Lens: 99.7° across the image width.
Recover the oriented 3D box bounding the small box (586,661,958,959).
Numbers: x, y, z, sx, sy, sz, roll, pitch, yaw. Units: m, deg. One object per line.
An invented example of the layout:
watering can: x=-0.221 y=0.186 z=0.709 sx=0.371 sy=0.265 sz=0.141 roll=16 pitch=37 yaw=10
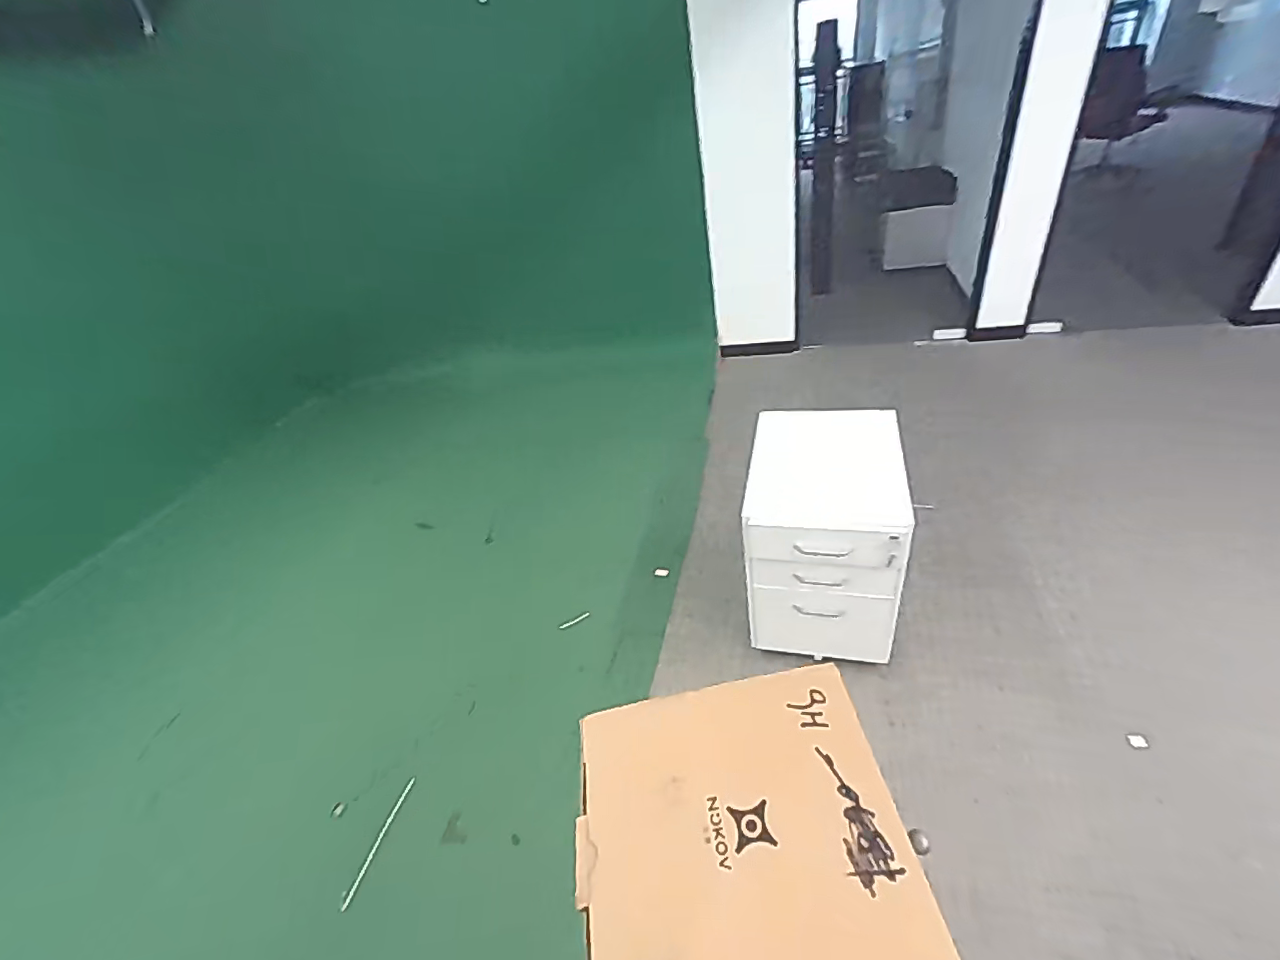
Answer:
small box: x=0.072 y=0.250 z=0.356 sx=0.179 sy=0.176 sz=0.168 roll=-13 pitch=41 yaw=4
